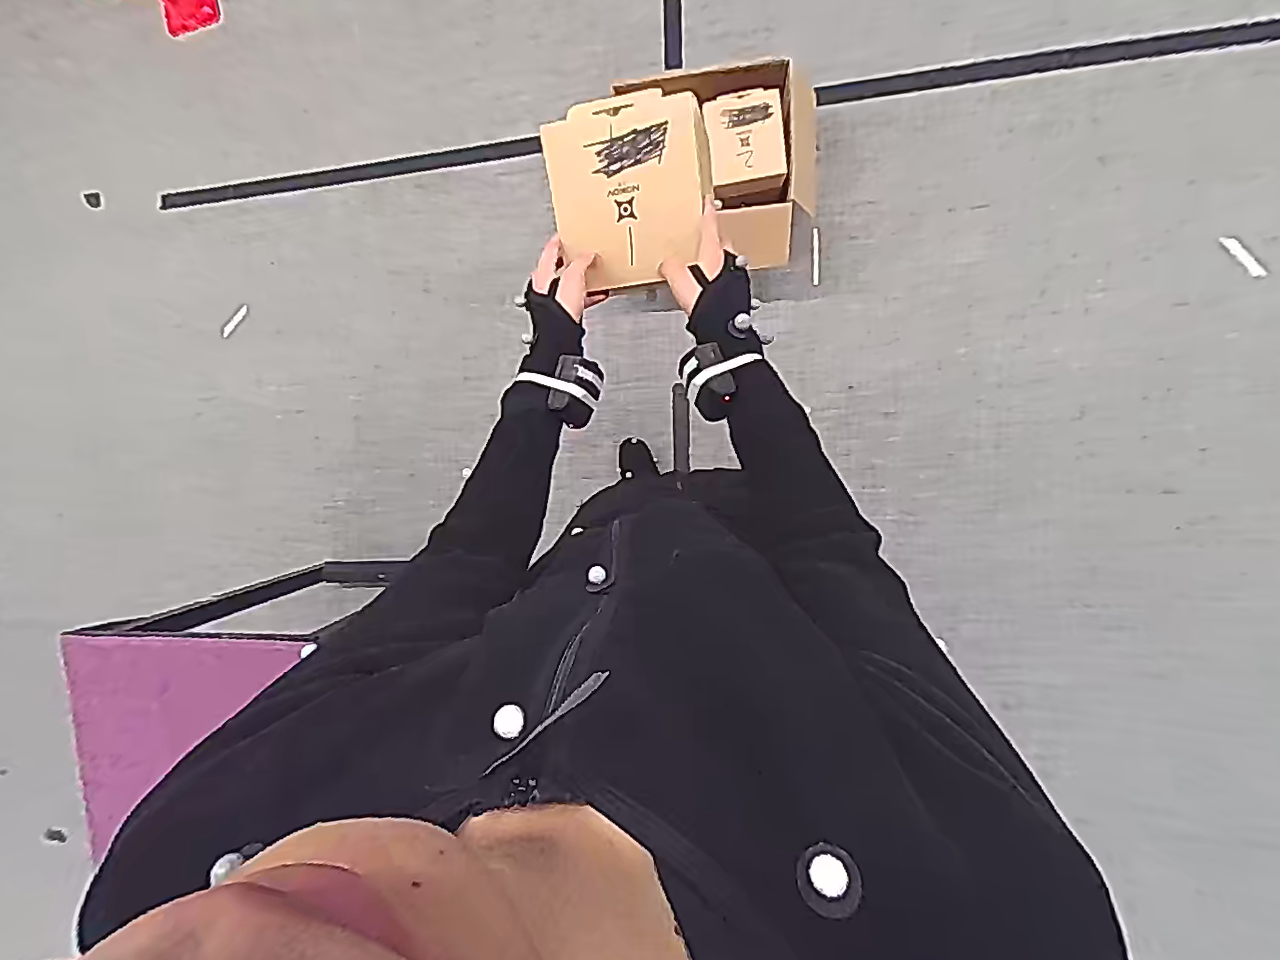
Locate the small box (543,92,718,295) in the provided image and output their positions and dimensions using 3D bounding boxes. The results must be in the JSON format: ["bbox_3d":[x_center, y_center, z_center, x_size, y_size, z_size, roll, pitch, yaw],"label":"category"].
[{"bbox_3d":[0.001,-0.324,0.652,0.168,0.176,0.179,-3,108,14],"label":"small box"}]
